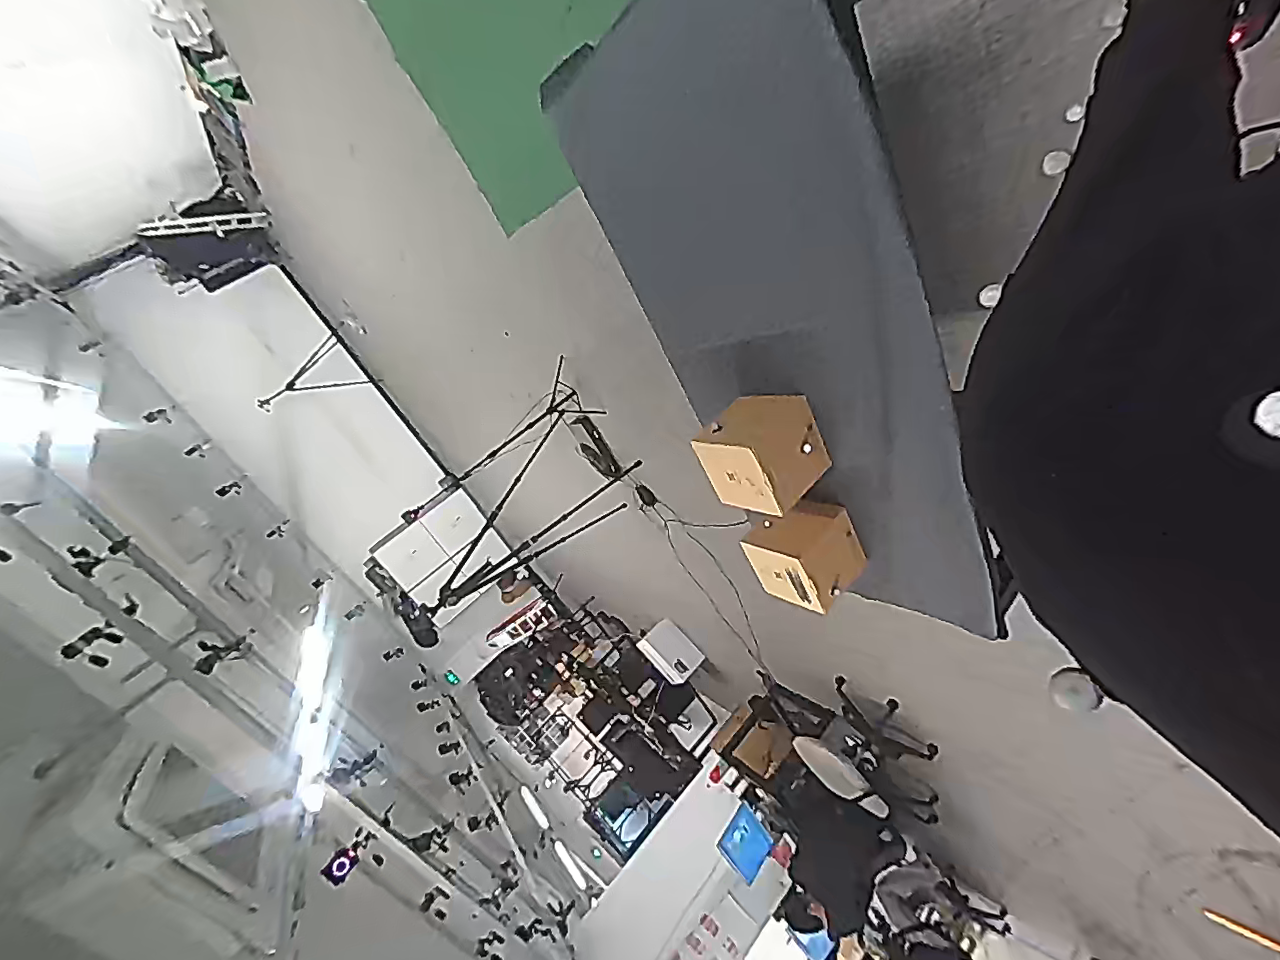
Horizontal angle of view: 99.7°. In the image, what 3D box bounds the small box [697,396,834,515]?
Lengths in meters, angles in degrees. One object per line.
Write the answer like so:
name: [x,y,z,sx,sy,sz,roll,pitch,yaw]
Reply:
small box: [0.253,-0.057,1.087,0.179,0.176,0.168,11,138,55]
